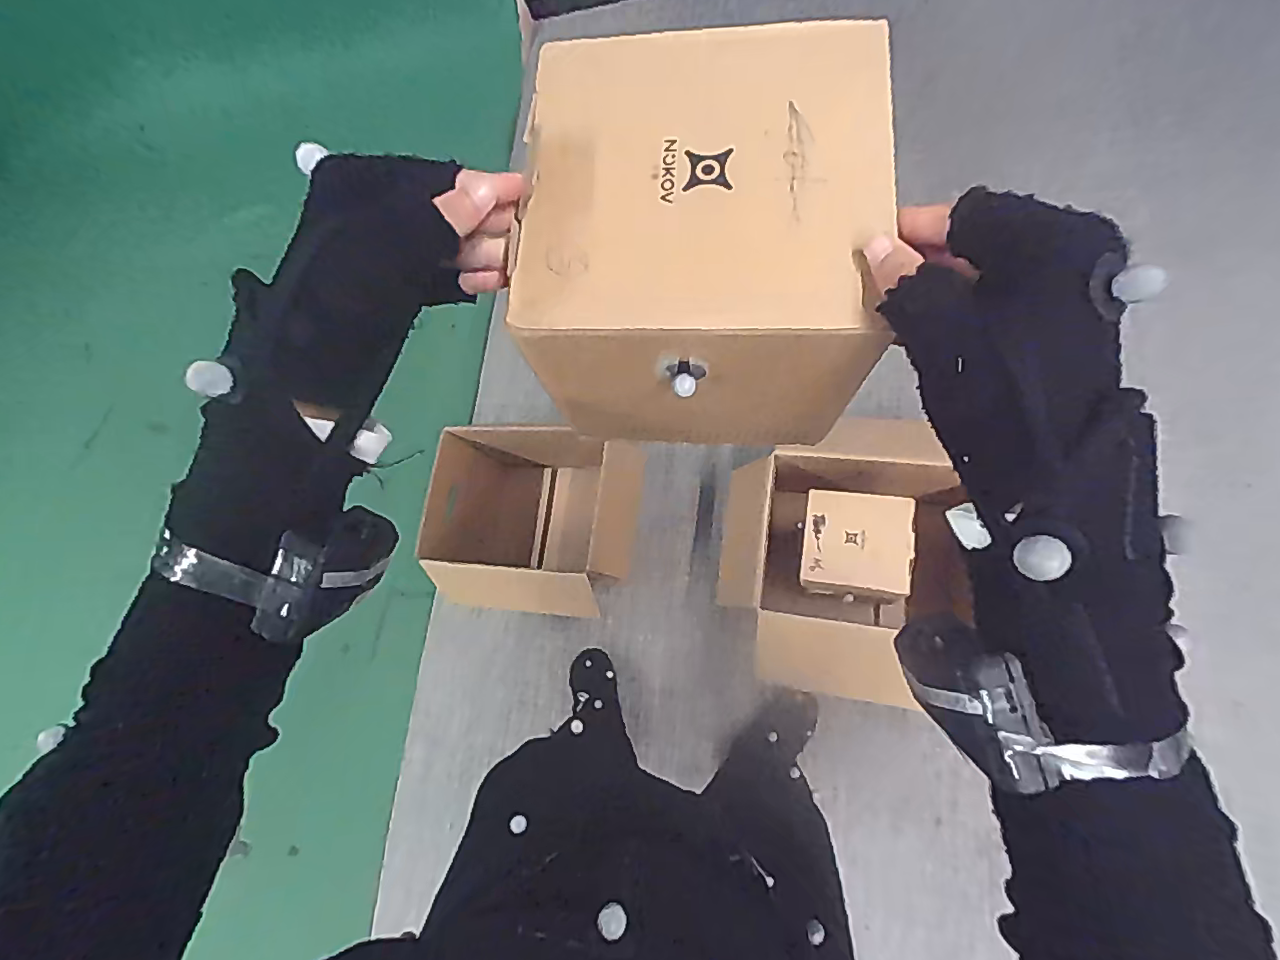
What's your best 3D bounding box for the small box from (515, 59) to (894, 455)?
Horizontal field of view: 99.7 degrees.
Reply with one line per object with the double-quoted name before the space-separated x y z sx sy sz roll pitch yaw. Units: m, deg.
"small box" 0.038 -0.116 0.342 0.179 0.176 0.168 1 77 6
